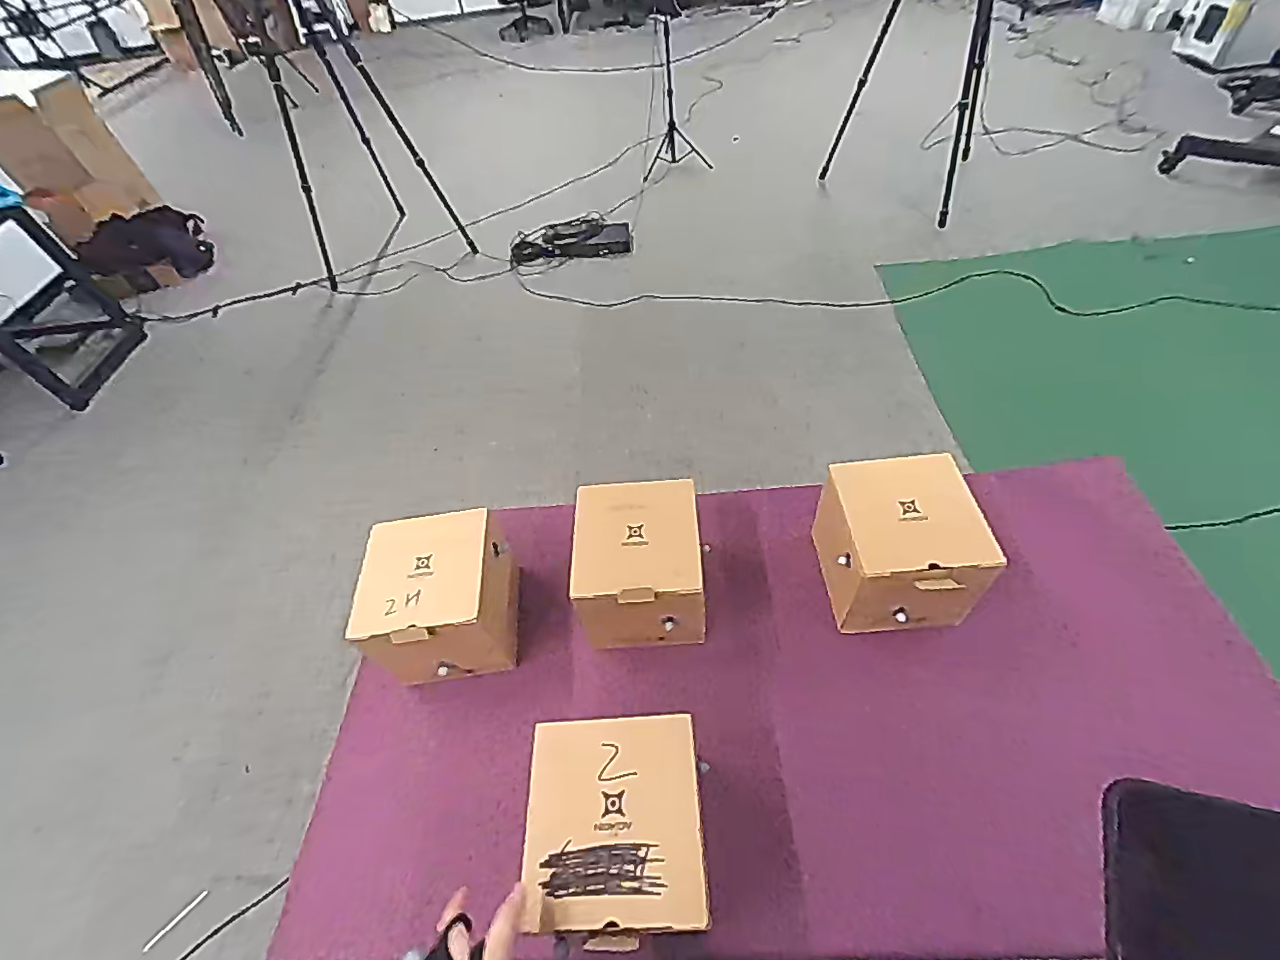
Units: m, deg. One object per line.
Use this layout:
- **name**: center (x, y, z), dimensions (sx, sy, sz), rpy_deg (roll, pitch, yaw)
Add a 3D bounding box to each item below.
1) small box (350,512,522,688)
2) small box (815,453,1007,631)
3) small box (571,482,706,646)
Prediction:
- **small box**: center (-0.273, 0.173, 0.770), dimensions (0.168, 0.176, 0.179), rpy_deg (-10, 51, 1)
- **small box**: center (0.351, 0.088, 0.745), dimensions (0.168, 0.176, 0.179), rpy_deg (-6, 51, 4)
- **small box**: center (0.005, 0.126, 0.768), dimensions (0.168, 0.176, 0.179), rpy_deg (-4, 51, 4)
